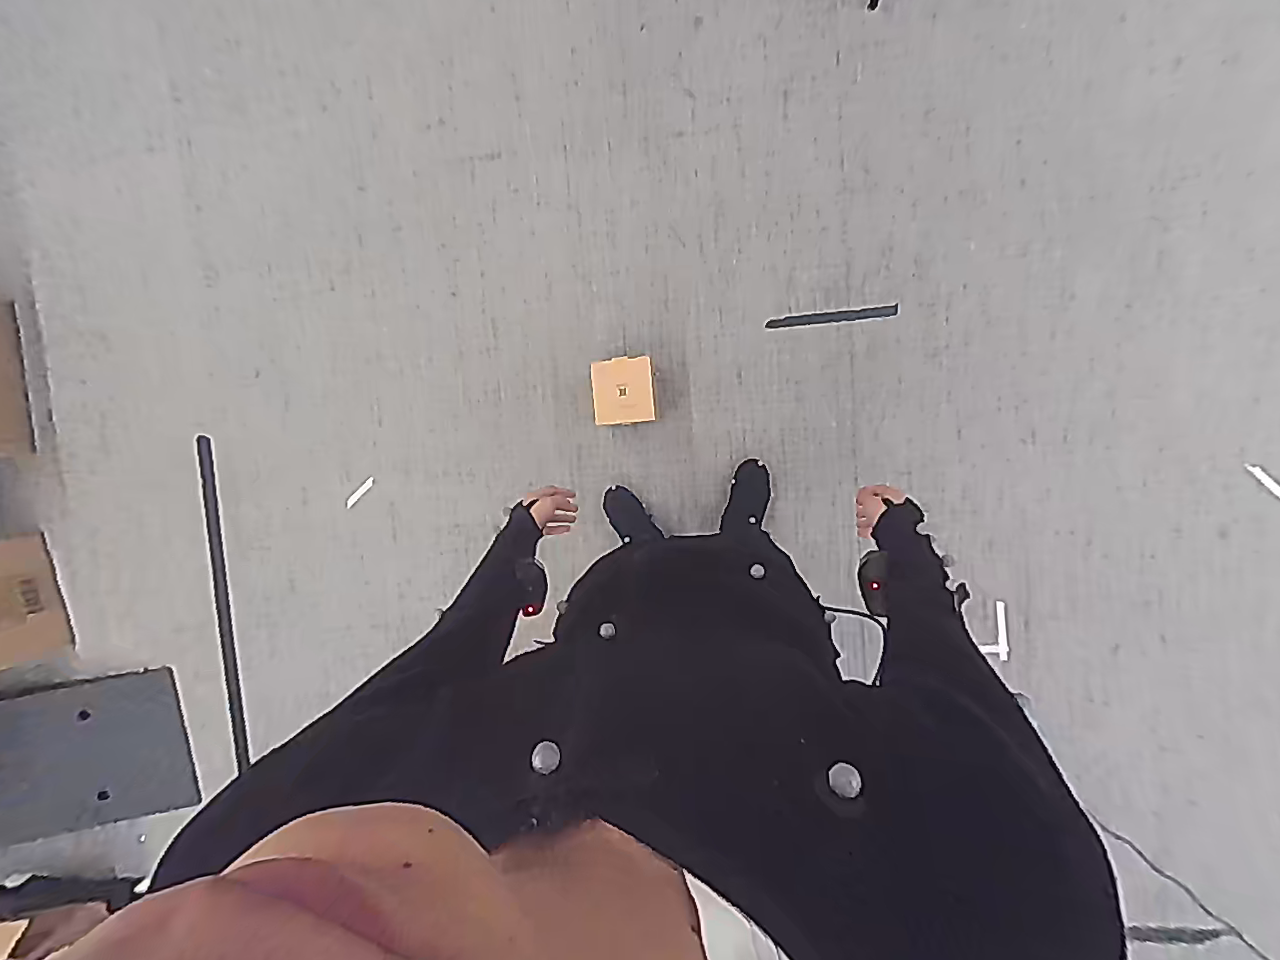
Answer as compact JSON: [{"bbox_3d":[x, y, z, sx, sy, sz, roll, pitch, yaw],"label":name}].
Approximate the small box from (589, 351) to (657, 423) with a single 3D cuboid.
[{"bbox_3d":[-0.045,-0.257,1.528,0.168,0.176,0.179,-4,94,7],"label":"small box"}]
